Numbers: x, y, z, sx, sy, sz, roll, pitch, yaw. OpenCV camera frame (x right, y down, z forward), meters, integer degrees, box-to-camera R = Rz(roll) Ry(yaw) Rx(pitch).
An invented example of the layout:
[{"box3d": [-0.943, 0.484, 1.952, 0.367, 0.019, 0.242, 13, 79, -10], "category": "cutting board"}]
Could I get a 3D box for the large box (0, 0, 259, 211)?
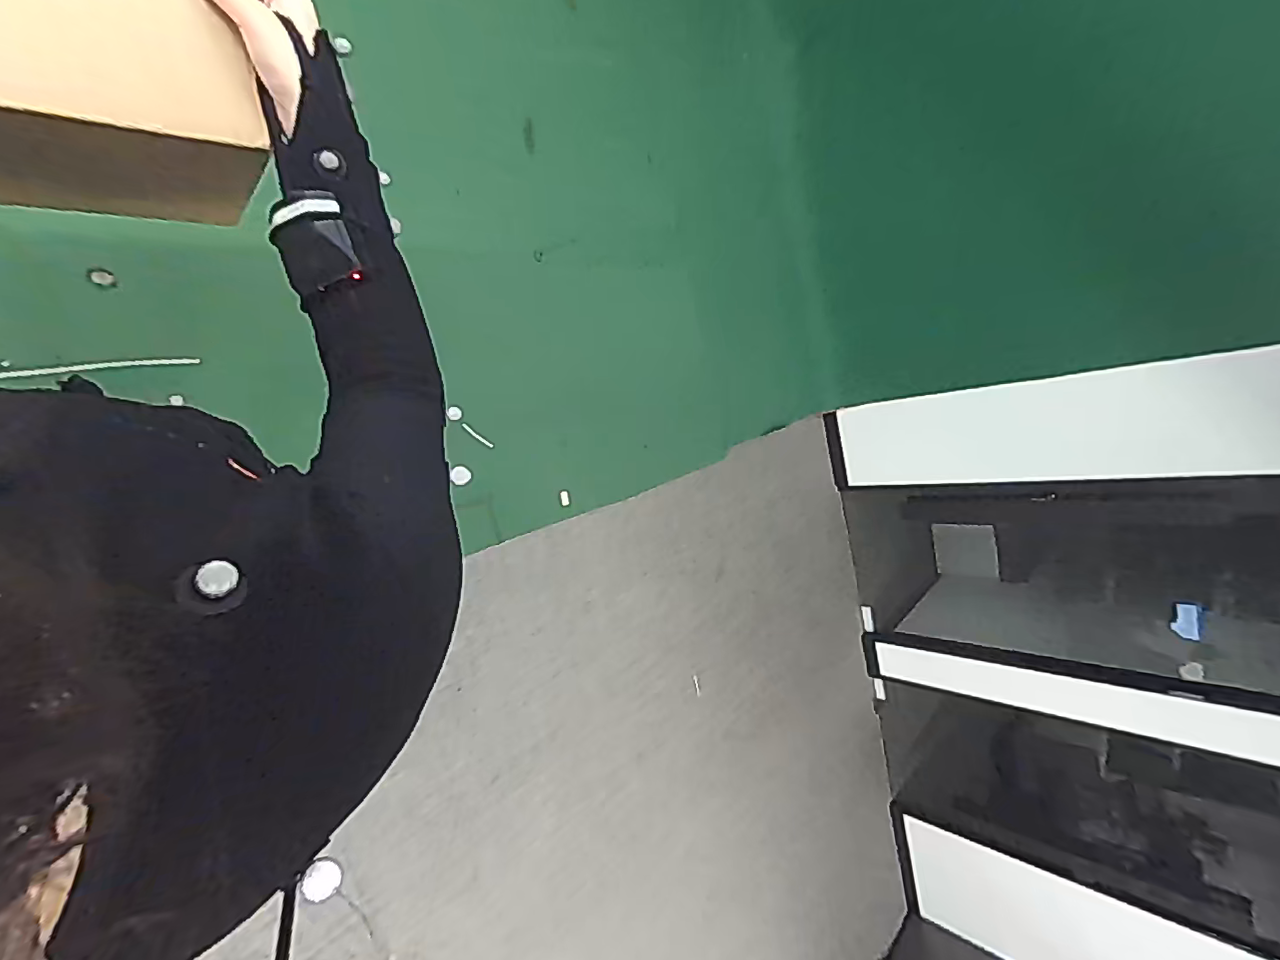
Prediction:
[{"box3d": [-0.542, -0.391, 0.367, 0.408, 0.320, 0.320, -13, 108, -37], "category": "large box"}]
